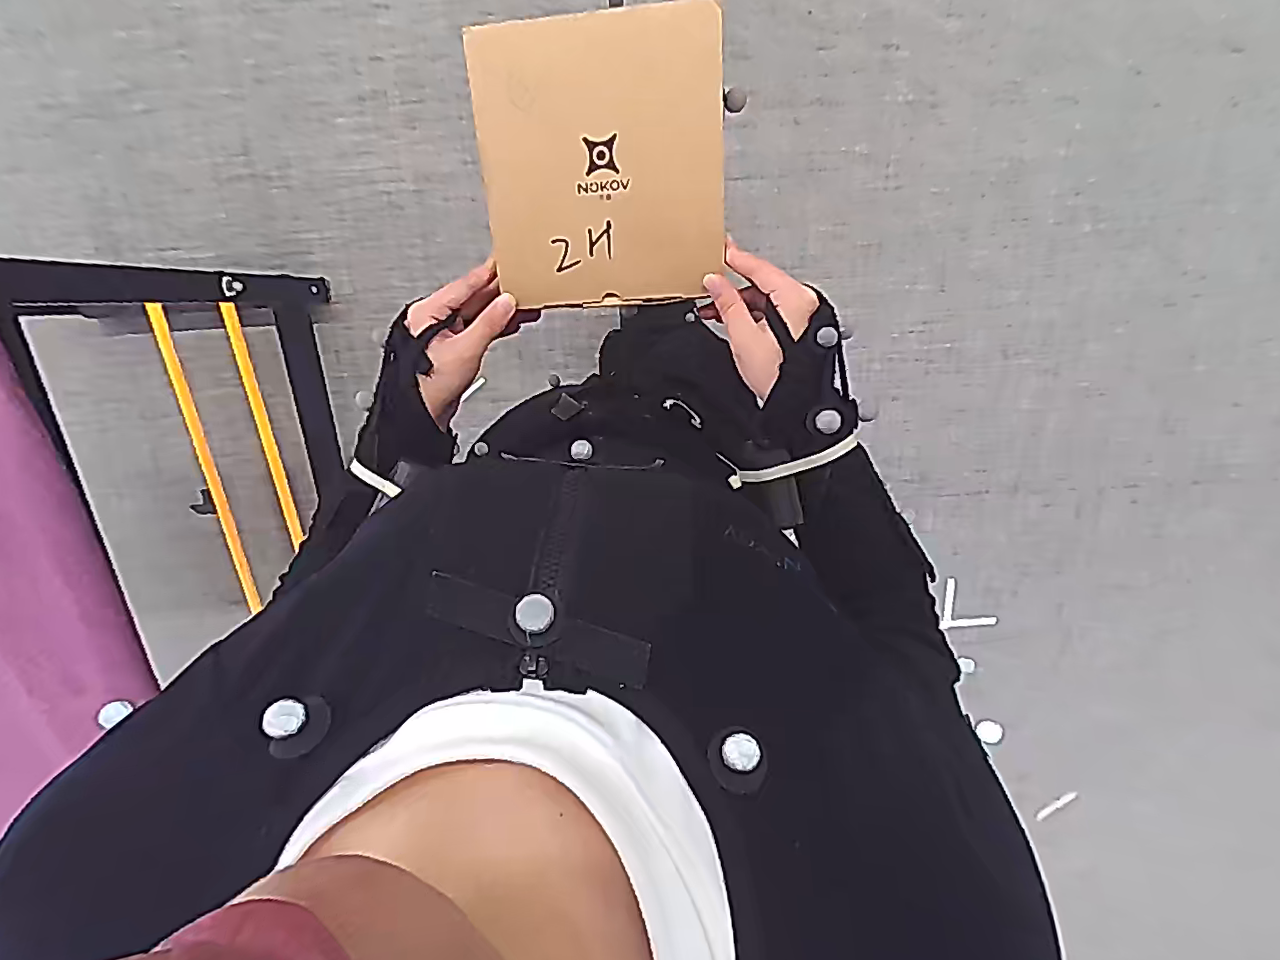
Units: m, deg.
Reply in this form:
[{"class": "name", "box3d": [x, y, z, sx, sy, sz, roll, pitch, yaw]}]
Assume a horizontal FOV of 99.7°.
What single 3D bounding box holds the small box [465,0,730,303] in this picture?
[{"class": "small box", "box3d": [-0.017, -0.238, 0.429, 0.168, 0.176, 0.179, -2, 111, 6]}]
